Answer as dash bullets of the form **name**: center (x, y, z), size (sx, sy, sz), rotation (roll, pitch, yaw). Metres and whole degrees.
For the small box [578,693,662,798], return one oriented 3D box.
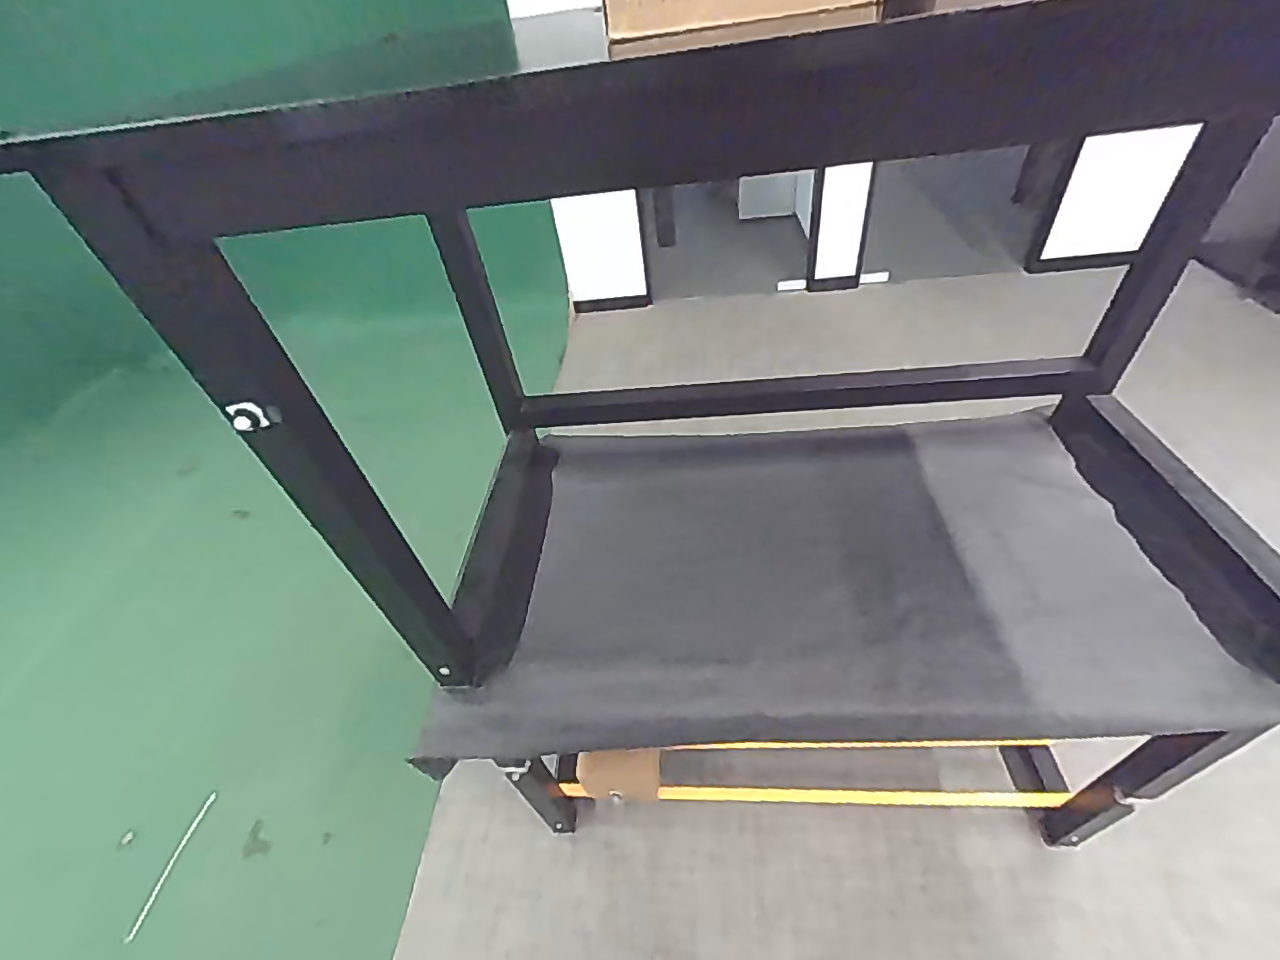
- **small box**: center (-0.039, 0.621, 1.266), size (0.168, 0.176, 0.179), rotation (-3, 45, 7)
